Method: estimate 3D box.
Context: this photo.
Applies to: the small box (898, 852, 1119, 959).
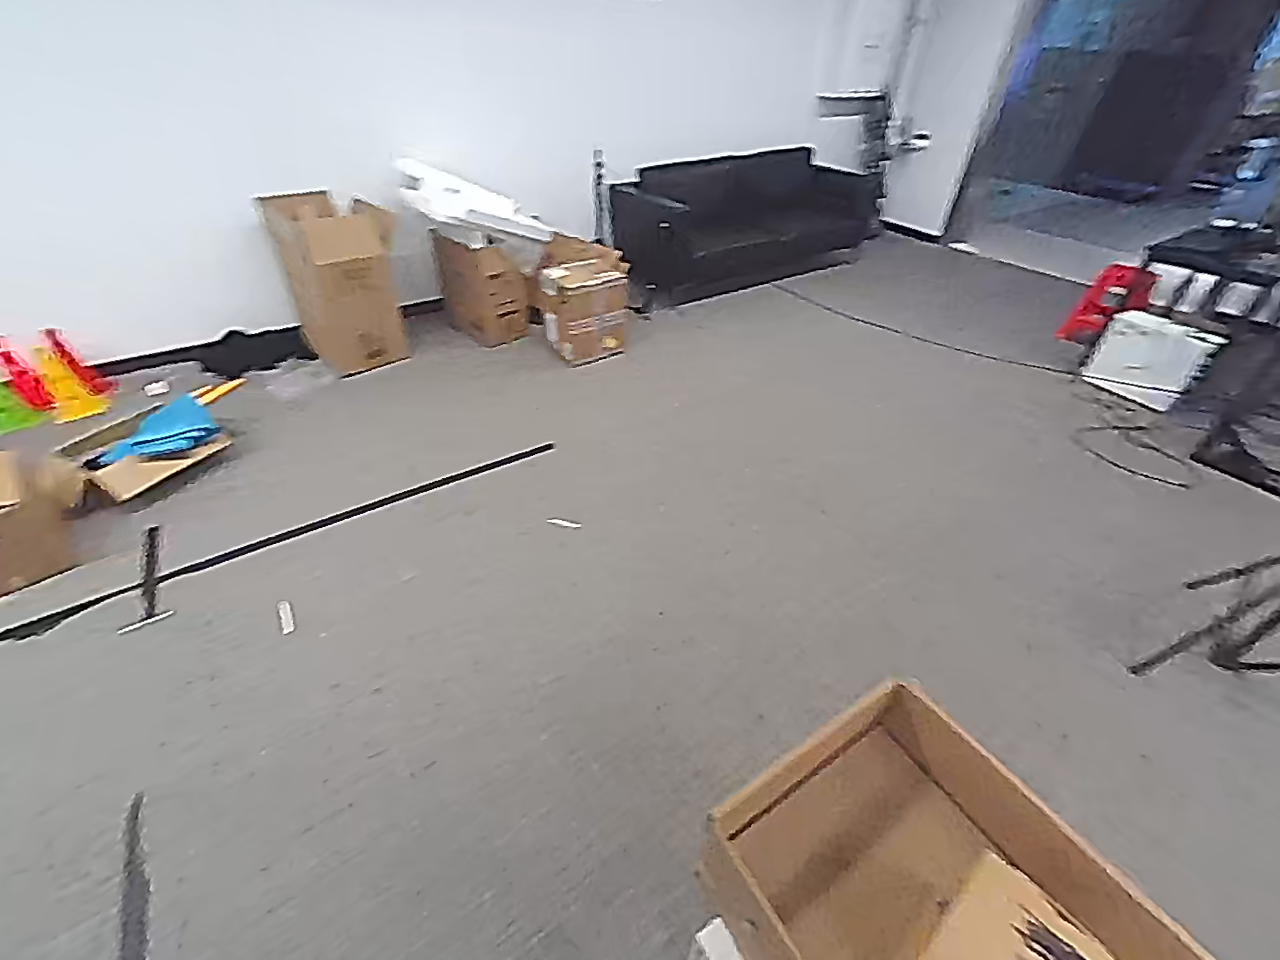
[{"bbox_3d":[0.410,0.581,0.613,0.179,0.176,0.168,-28,47,-30],"label":"small box"}]
